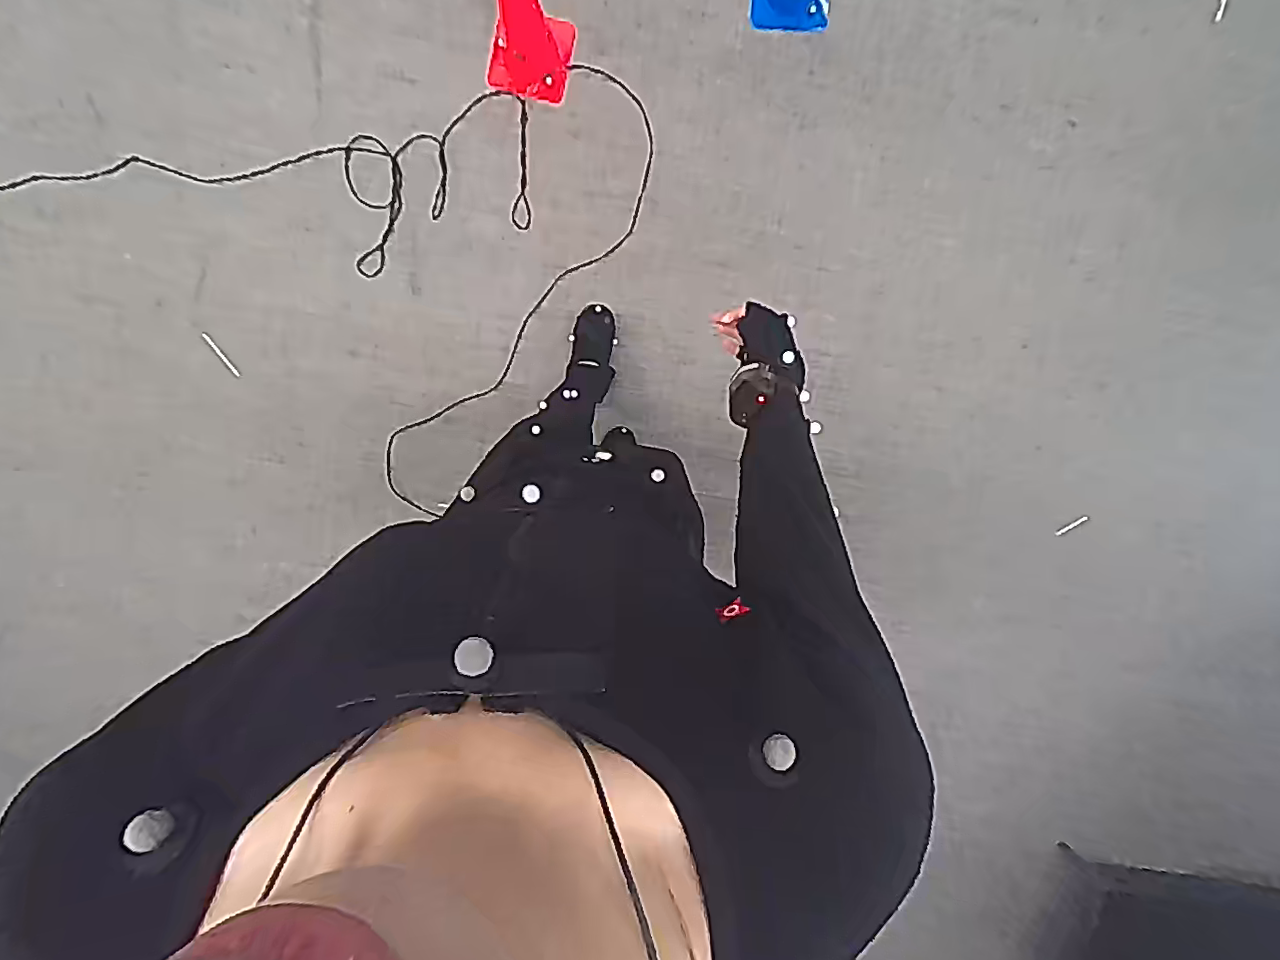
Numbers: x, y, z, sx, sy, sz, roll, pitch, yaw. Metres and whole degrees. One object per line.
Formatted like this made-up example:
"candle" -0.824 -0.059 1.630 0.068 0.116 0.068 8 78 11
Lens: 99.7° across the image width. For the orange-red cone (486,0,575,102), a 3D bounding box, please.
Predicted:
"orange-red cone" -0.270 -1.063 1.195 0.198 0.360 0.199 14 94 -4
